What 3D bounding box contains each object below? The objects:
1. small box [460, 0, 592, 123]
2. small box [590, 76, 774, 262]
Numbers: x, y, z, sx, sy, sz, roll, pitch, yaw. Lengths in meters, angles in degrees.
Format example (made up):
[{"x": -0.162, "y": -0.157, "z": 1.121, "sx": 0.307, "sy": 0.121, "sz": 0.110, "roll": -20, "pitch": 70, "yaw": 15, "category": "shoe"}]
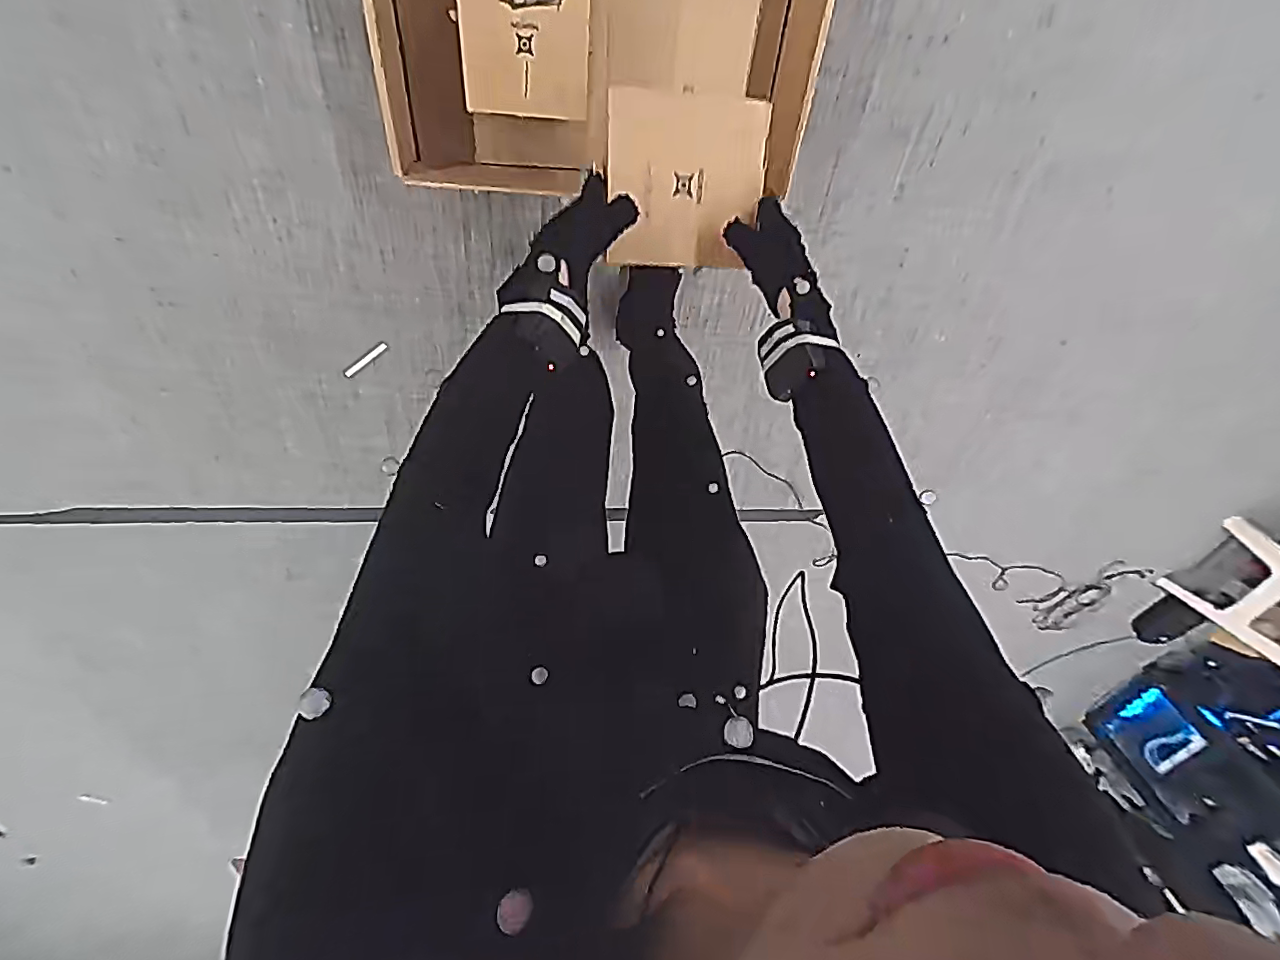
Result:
[{"x": -0.159, "y": -0.619, "z": 0.753, "sx": 0.168, "sy": 0.176, "sz": 0.179, "roll": -2, "pitch": 130, "yaw": -11, "category": "small box"}, {"x": 0.036, "y": -0.358, "z": 0.647, "sx": 0.179, "sy": 0.176, "sz": 0.168, "roll": -2, "pitch": 115, "yaw": -10, "category": "small box"}]
